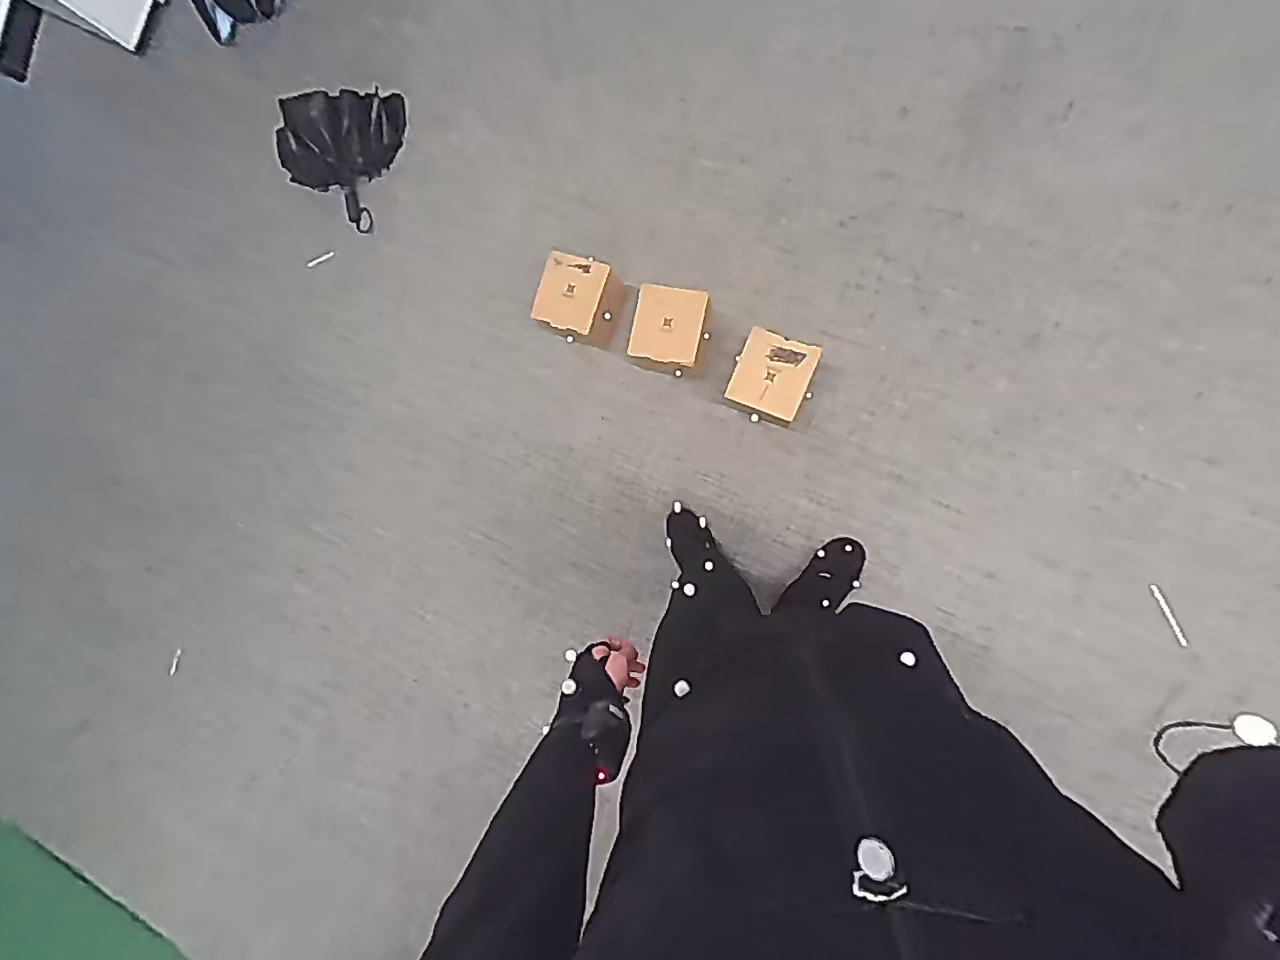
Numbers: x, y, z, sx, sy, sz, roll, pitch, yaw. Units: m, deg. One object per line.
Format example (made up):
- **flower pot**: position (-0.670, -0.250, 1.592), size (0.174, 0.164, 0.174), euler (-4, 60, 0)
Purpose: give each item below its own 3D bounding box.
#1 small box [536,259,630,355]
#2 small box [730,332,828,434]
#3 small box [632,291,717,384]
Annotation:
- **small box**: position (-0.140, -0.440, 1.403), size (0.168, 0.176, 0.179), euler (20, 94, 14)
- **small box**: position (0.326, -0.222, 1.281), size (0.168, 0.176, 0.179), euler (23, 95, 14)
- **small box**: position (0.092, -0.347, 1.345), size (0.168, 0.176, 0.179), euler (11, 90, 13)
